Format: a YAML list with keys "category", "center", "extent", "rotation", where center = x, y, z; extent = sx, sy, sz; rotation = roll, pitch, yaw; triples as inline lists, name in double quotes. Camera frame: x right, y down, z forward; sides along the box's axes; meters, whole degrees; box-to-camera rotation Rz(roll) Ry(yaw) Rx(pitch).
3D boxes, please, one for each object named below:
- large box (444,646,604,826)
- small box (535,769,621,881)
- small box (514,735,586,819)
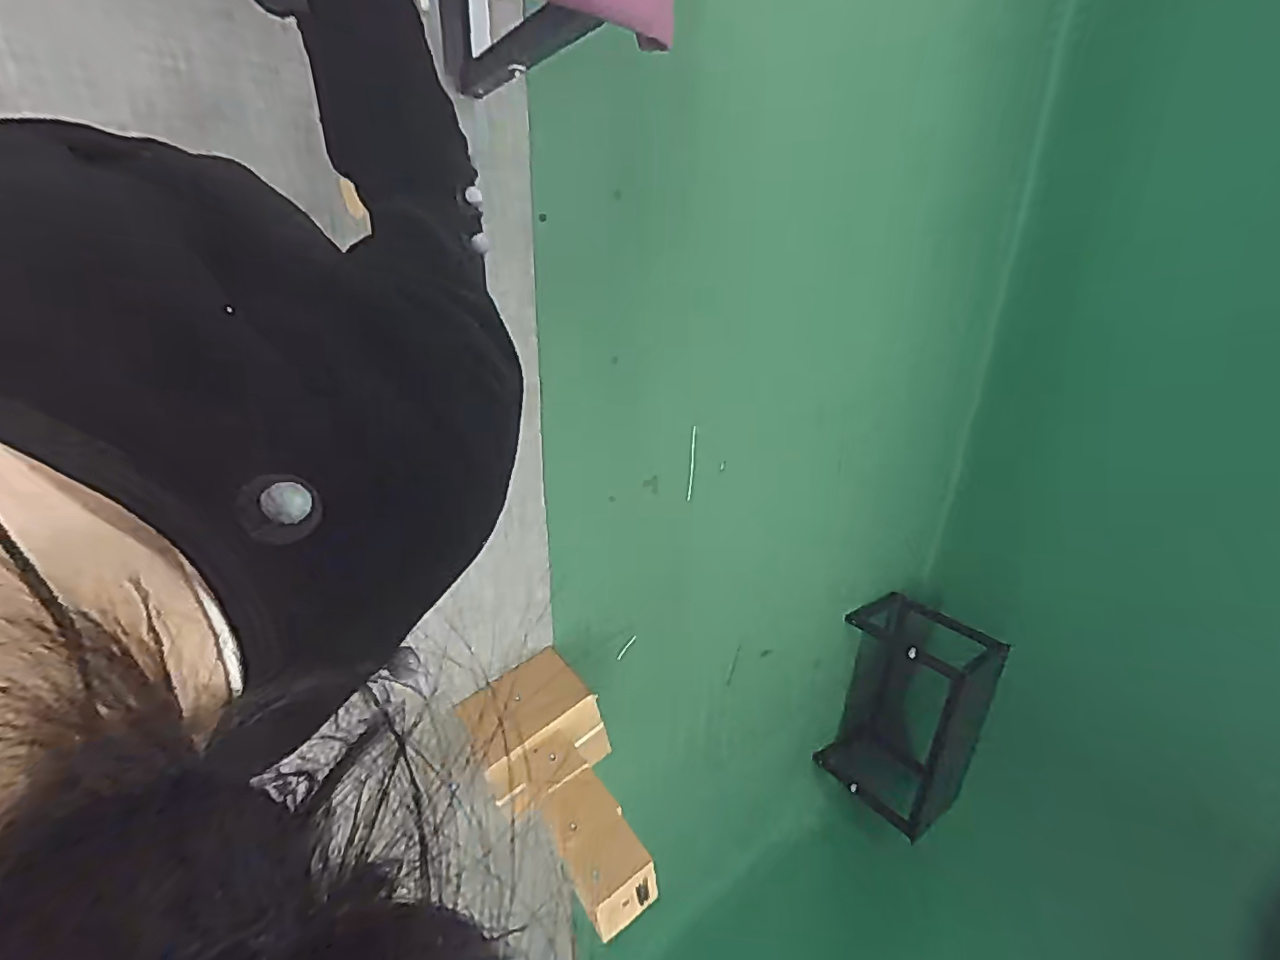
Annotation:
- category: "large box"
  center: [-0.396, 0.867, 1.877]
  extent: [0.408, 0.320, 0.320]
  rotation: [-29, 125, -29]
- category: "small box"
  center: [-0.176, 0.979, 1.550]
  extent: [0.179, 0.176, 0.168]
  rotation: [-21, 119, -31]
- category: "small box"
  center: [-0.272, 0.923, 1.669]
  extent: [0.168, 0.176, 0.179]
  rotation: [-22, 120, -30]
